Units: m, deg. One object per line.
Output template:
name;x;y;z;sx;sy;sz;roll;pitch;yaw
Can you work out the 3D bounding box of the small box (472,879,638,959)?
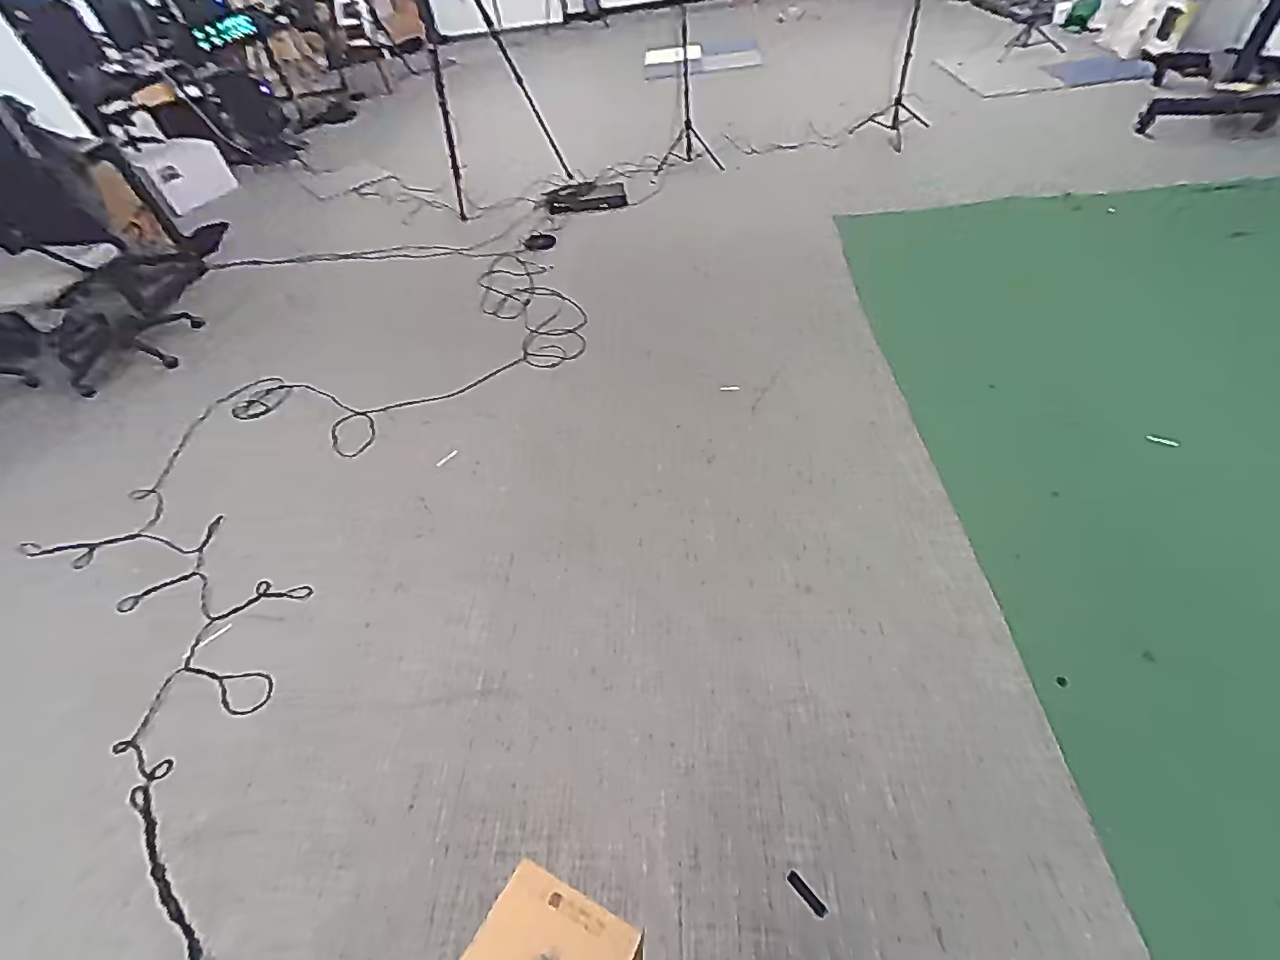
small box;-0.110;0.603;0.607;0.168;0.179;0.176;15;32;21
